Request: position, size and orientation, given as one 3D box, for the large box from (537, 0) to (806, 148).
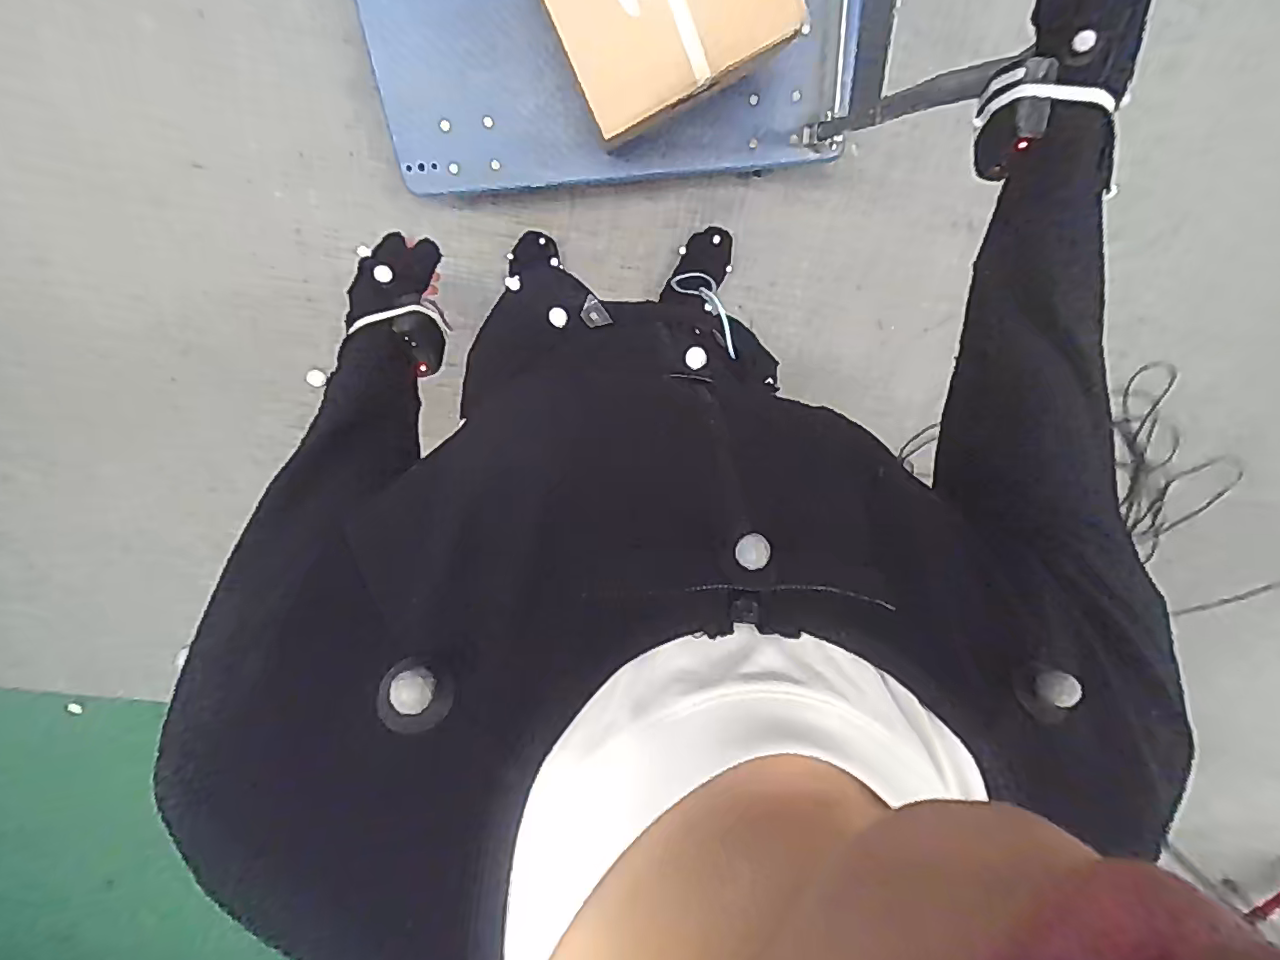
[{"bbox_3d":[-0.008,-0.785,0.802,0.320,0.320,0.408,-25,117,10],"label":"large box"}]
